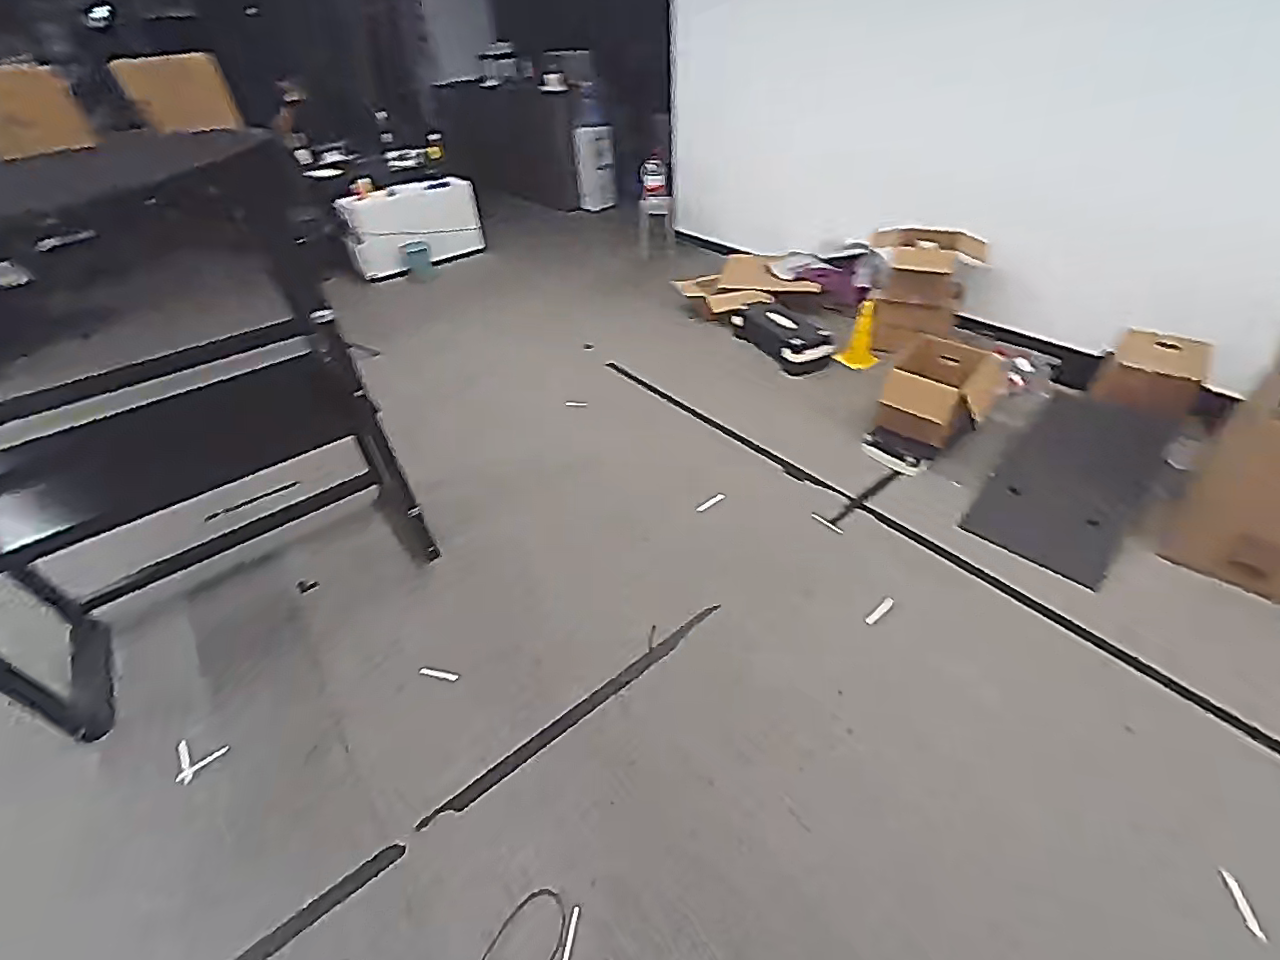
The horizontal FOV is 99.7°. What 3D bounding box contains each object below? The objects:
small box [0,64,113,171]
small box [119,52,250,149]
[{"bbox_3d":[-1.282,-0.773,1.157,0.168,0.176,0.179,-32,47,-28],"label":"small box"},{"bbox_3d":[-1.066,-0.894,1.276,0.168,0.176,0.179,-35,48,-30],"label":"small box"}]
